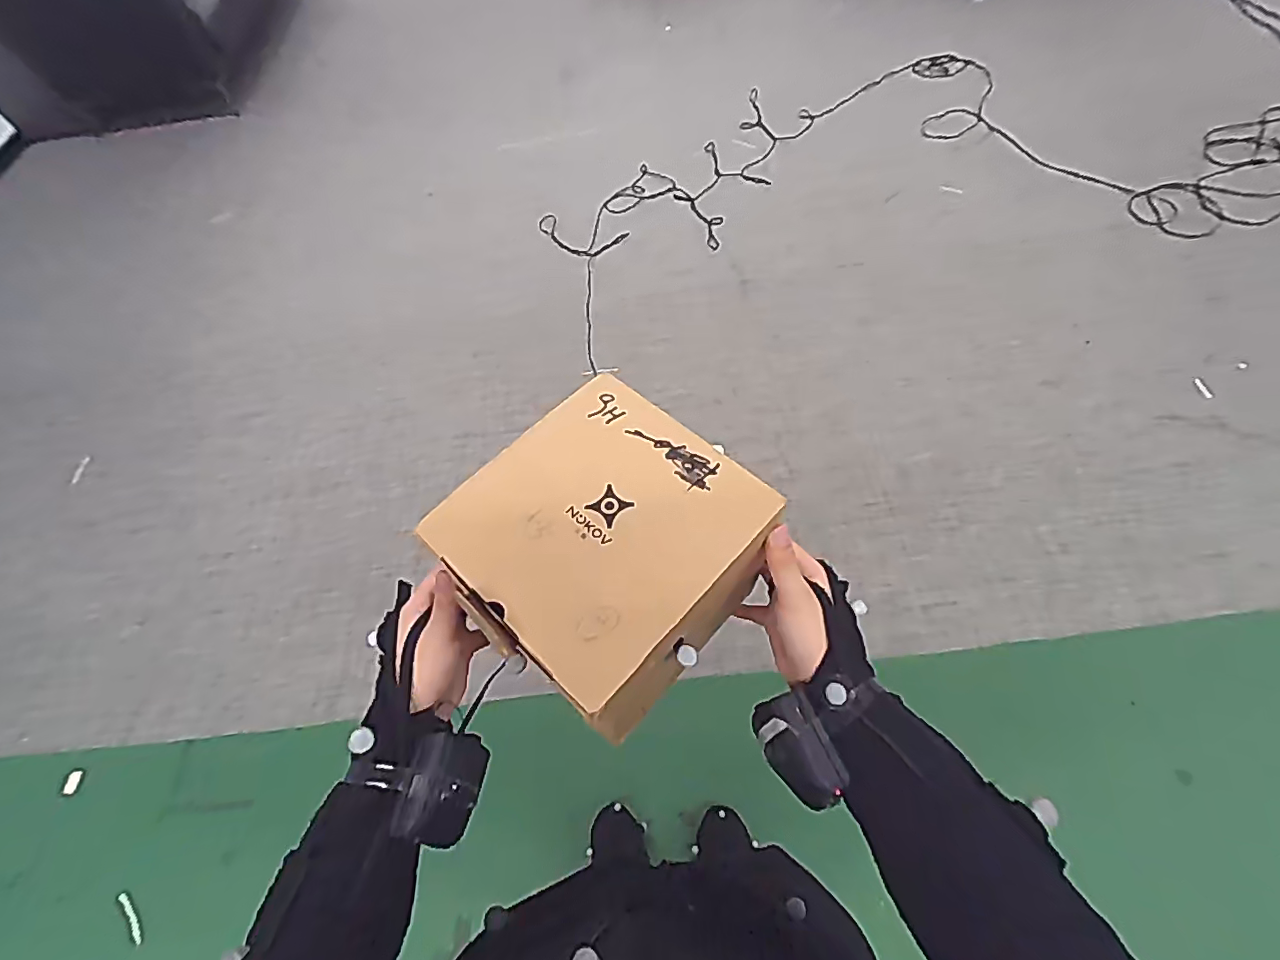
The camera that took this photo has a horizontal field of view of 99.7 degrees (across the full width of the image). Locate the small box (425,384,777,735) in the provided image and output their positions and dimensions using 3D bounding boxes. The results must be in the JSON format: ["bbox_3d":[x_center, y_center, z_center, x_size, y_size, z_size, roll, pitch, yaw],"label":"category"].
[{"bbox_3d":[-0.020,0.068,0.417,0.168,0.176,0.179,38,69,22],"label":"small box"}]
